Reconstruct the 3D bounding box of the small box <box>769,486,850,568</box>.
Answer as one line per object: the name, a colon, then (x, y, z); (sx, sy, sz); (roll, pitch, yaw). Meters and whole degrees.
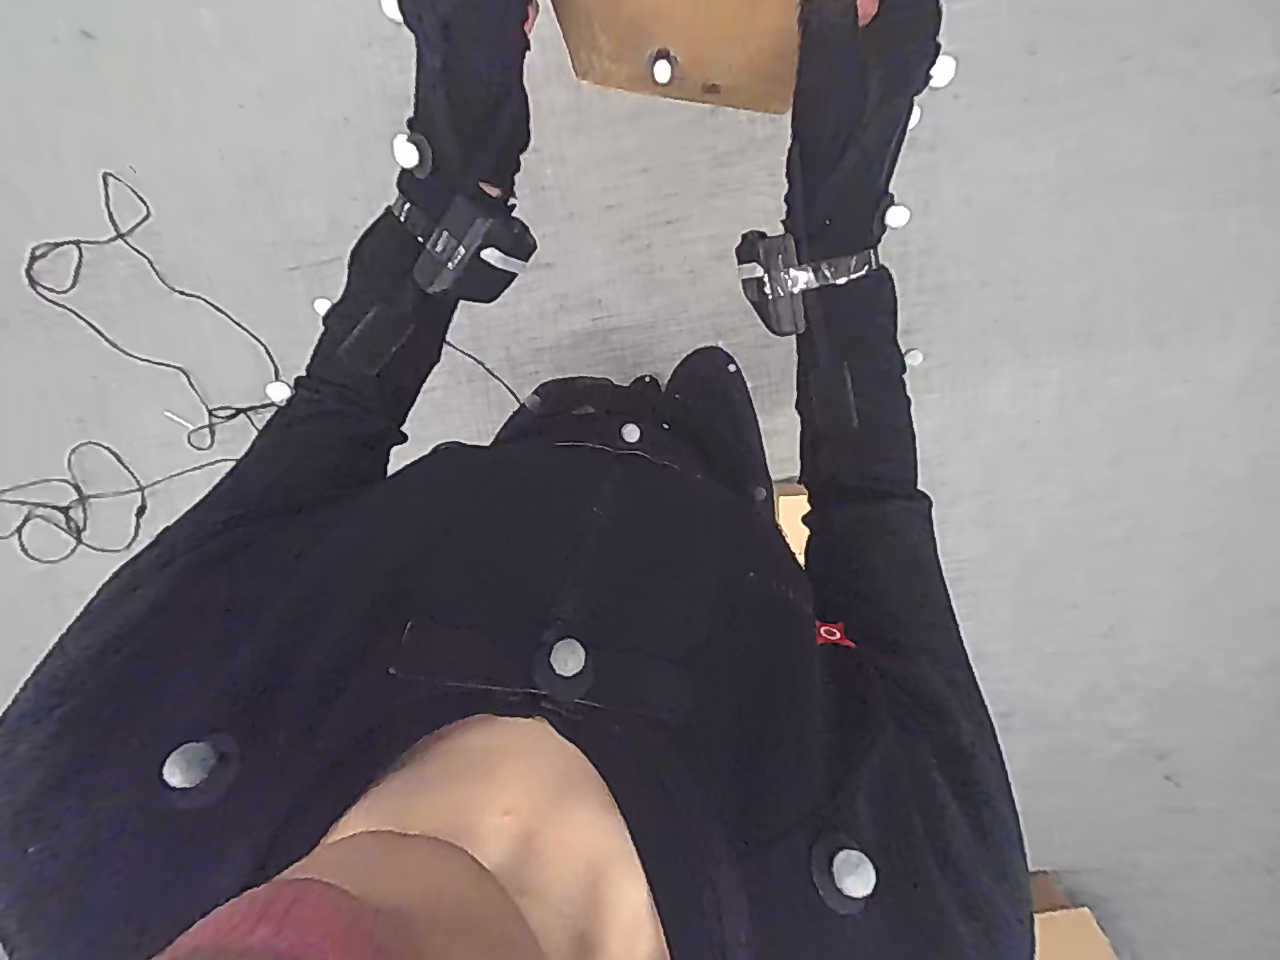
small box: (0.425, 0.113, 1.376); (0.168, 0.176, 0.179); (-3, 100, 5)
